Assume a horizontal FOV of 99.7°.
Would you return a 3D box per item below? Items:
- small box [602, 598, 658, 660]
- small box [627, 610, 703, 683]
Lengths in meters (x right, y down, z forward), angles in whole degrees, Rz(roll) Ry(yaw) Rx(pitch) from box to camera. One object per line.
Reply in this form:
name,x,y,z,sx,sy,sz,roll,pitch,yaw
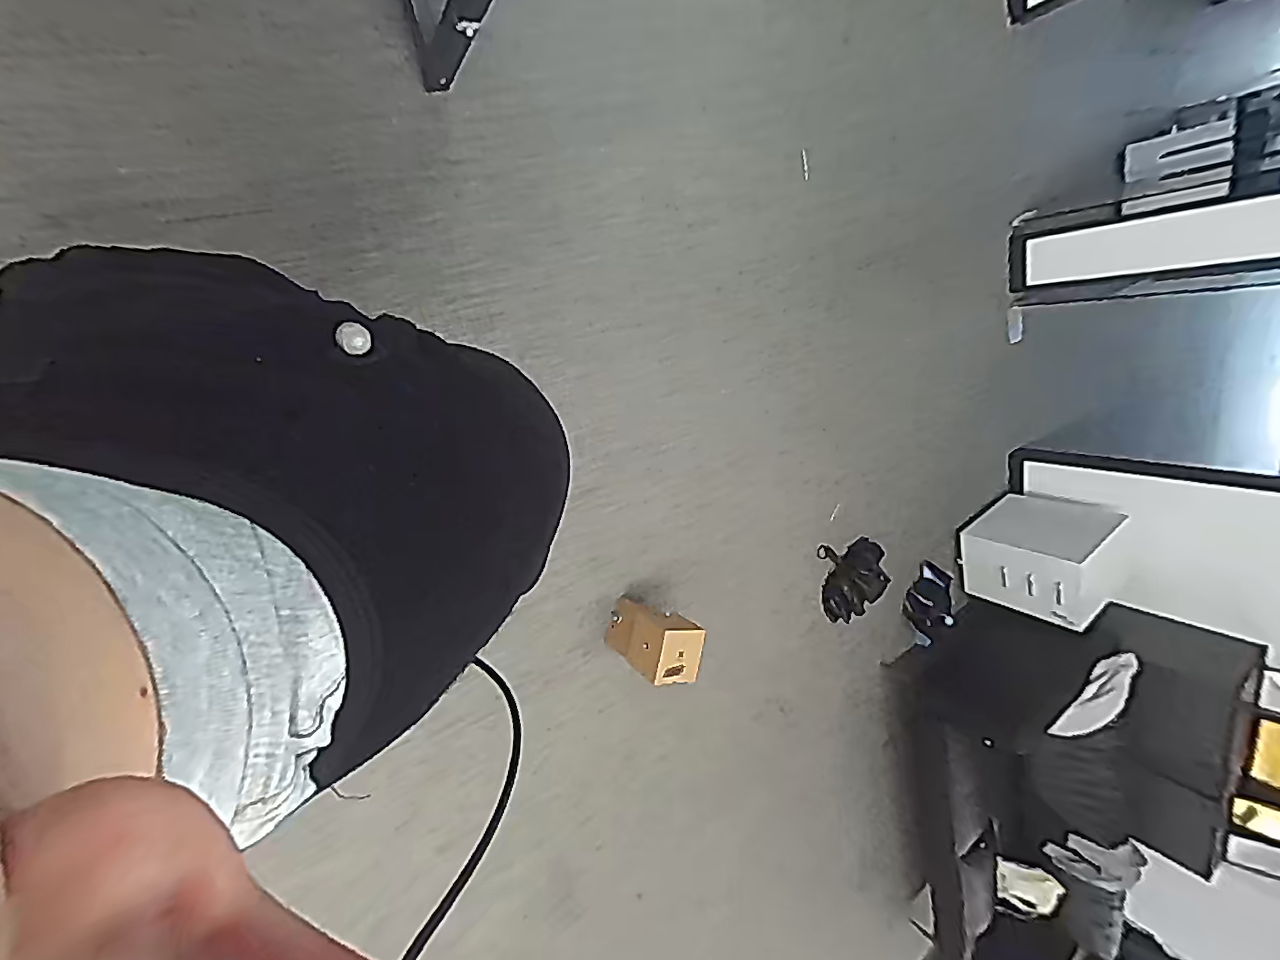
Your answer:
small box,-0.001,0.530,1.893,0.179,0.176,0.168,25,85,-32
small box,0.075,0.533,1.744,0.168,0.176,0.179,10,93,-34
